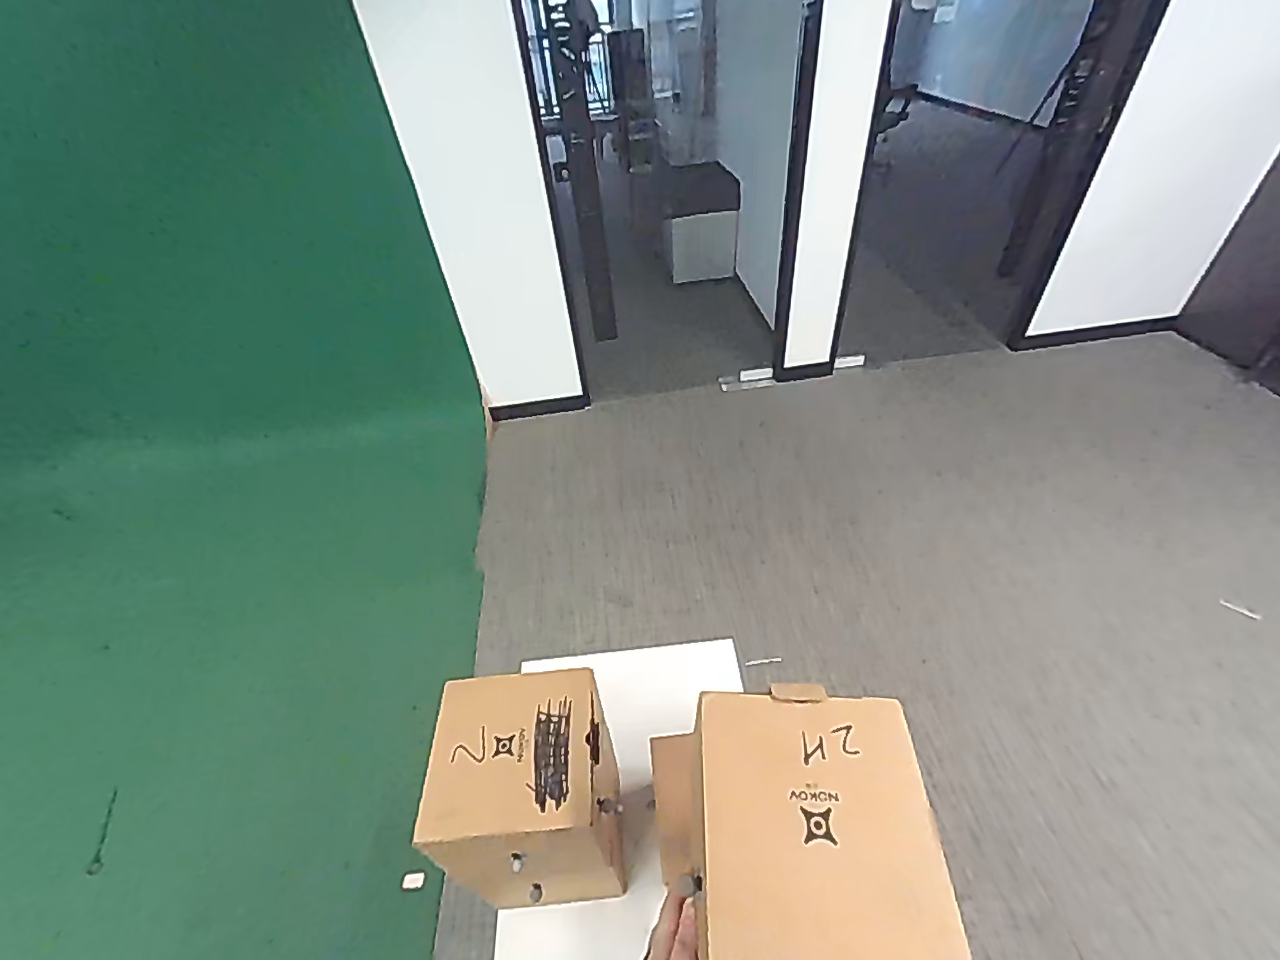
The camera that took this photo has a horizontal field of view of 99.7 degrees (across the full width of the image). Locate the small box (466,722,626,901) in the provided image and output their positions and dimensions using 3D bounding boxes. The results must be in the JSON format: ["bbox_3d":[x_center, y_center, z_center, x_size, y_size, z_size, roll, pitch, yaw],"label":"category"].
[{"bbox_3d":[-0.118,0.458,0.745,0.179,0.176,0.168,-6,43,-1],"label":"small box"}]

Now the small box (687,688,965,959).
[{"bbox_3d":[0.127,0.293,0.449,0.168,0.176,0.179,1,48,2],"label":"small box"}]
